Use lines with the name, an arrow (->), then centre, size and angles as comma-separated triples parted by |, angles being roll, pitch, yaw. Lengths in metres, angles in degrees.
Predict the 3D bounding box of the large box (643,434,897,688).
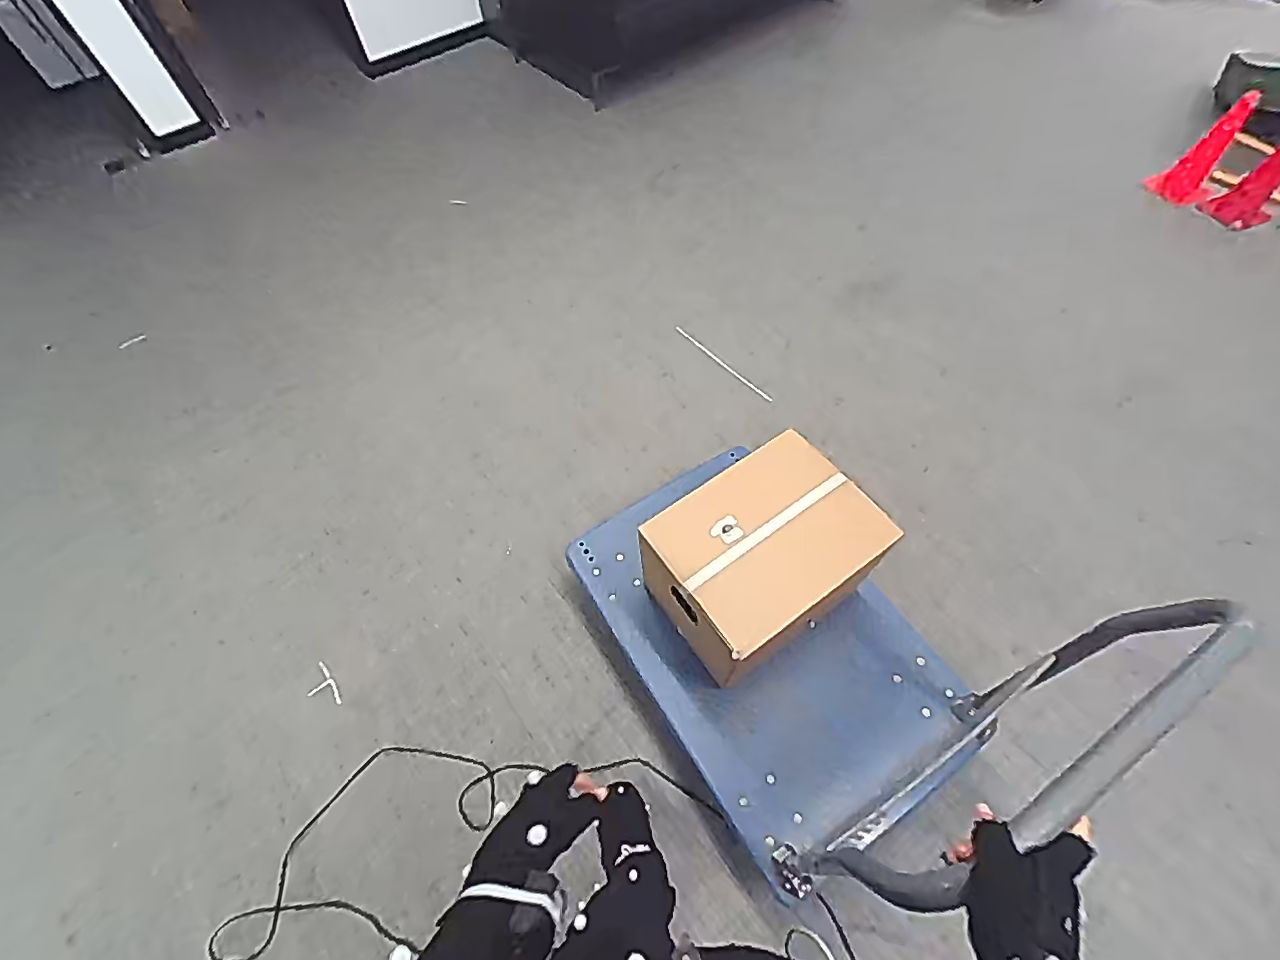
large box -> 0.258, 0.181, 1.174 | 0.408, 0.320, 0.320 | -34, 62, -15
